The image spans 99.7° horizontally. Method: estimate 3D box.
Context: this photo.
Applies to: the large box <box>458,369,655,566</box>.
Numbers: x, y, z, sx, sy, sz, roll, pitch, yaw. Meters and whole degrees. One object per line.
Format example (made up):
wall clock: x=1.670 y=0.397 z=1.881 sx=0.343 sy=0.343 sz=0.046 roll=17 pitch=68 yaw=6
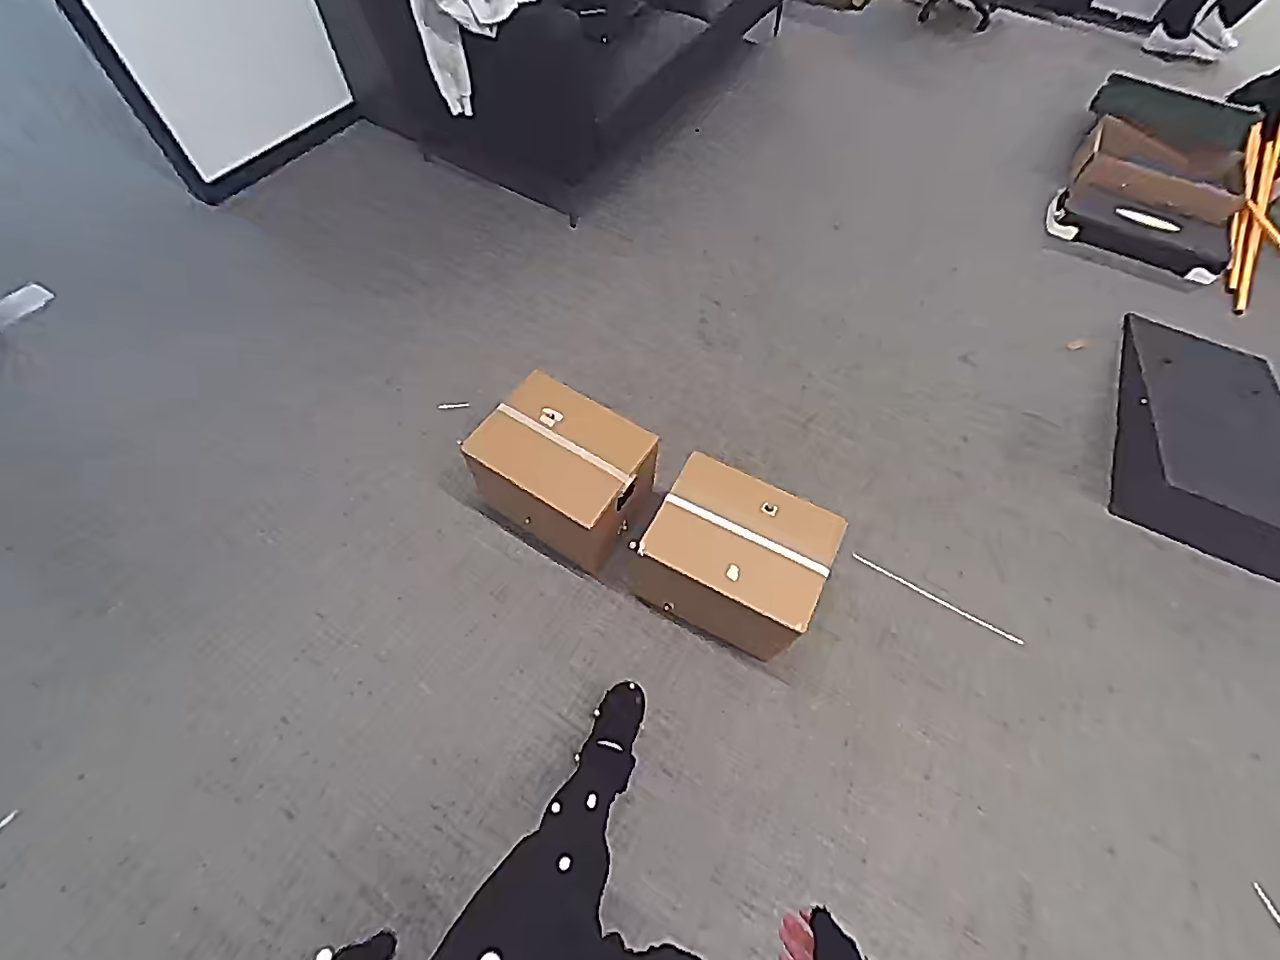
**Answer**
large box: x=-0.206 y=-0.028 z=1.478 sx=0.408 sy=0.320 sz=0.320 roll=29 pitch=63 yaw=15
